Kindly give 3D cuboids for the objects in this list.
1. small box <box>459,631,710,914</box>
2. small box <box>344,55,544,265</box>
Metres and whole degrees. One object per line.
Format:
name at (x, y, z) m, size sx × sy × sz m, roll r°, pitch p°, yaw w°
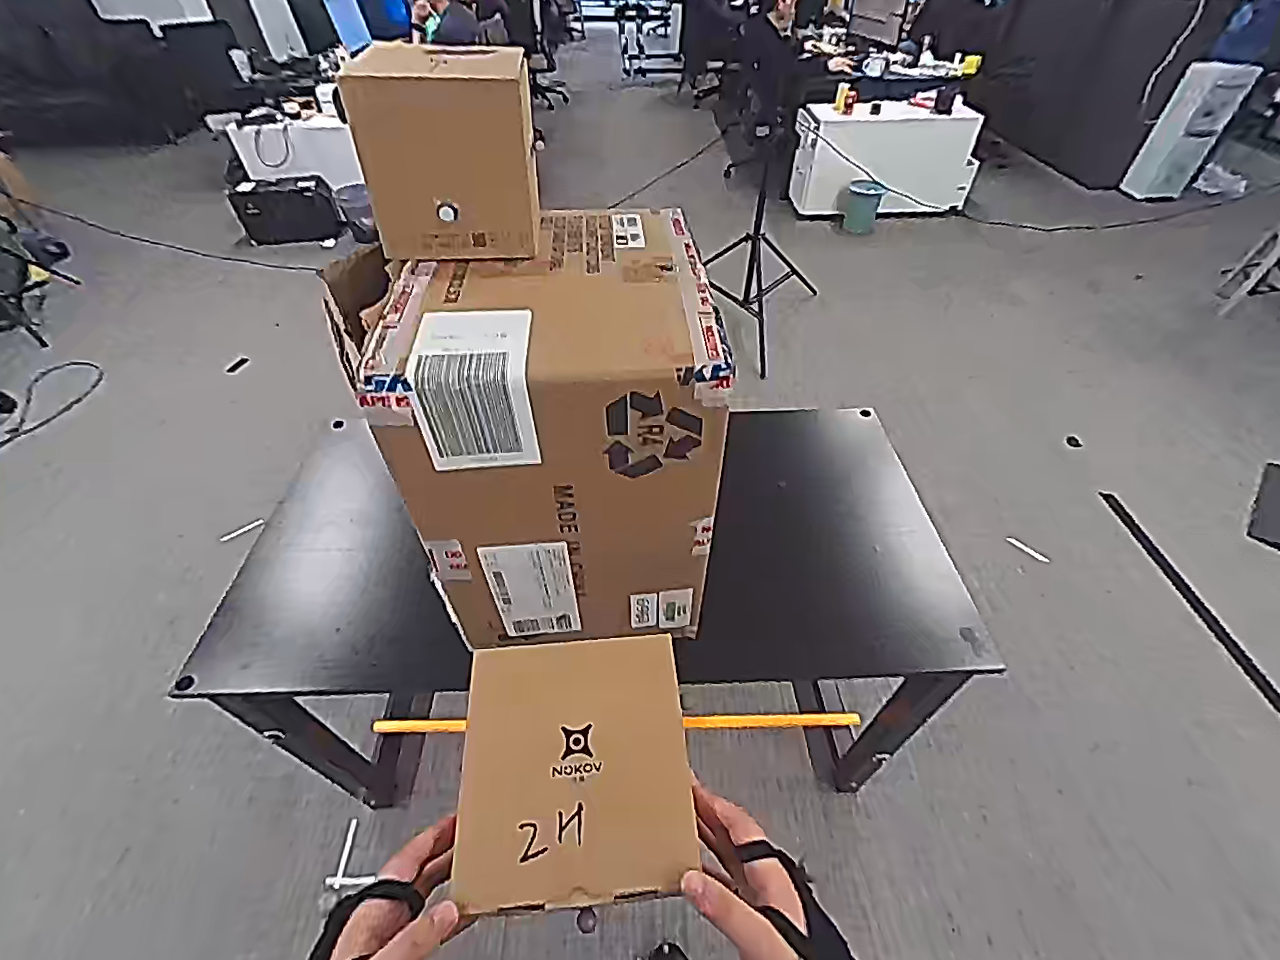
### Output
small box at (-0.043, 0.251, 0.463) m, size 0.168 × 0.176 × 0.179 m, roll -4°, pitch 51°, yaw -4°
small box at (-0.199, -0.358, 0.607) m, size 0.168 × 0.176 × 0.179 m, roll -4°, pitch 44°, yaw -6°
